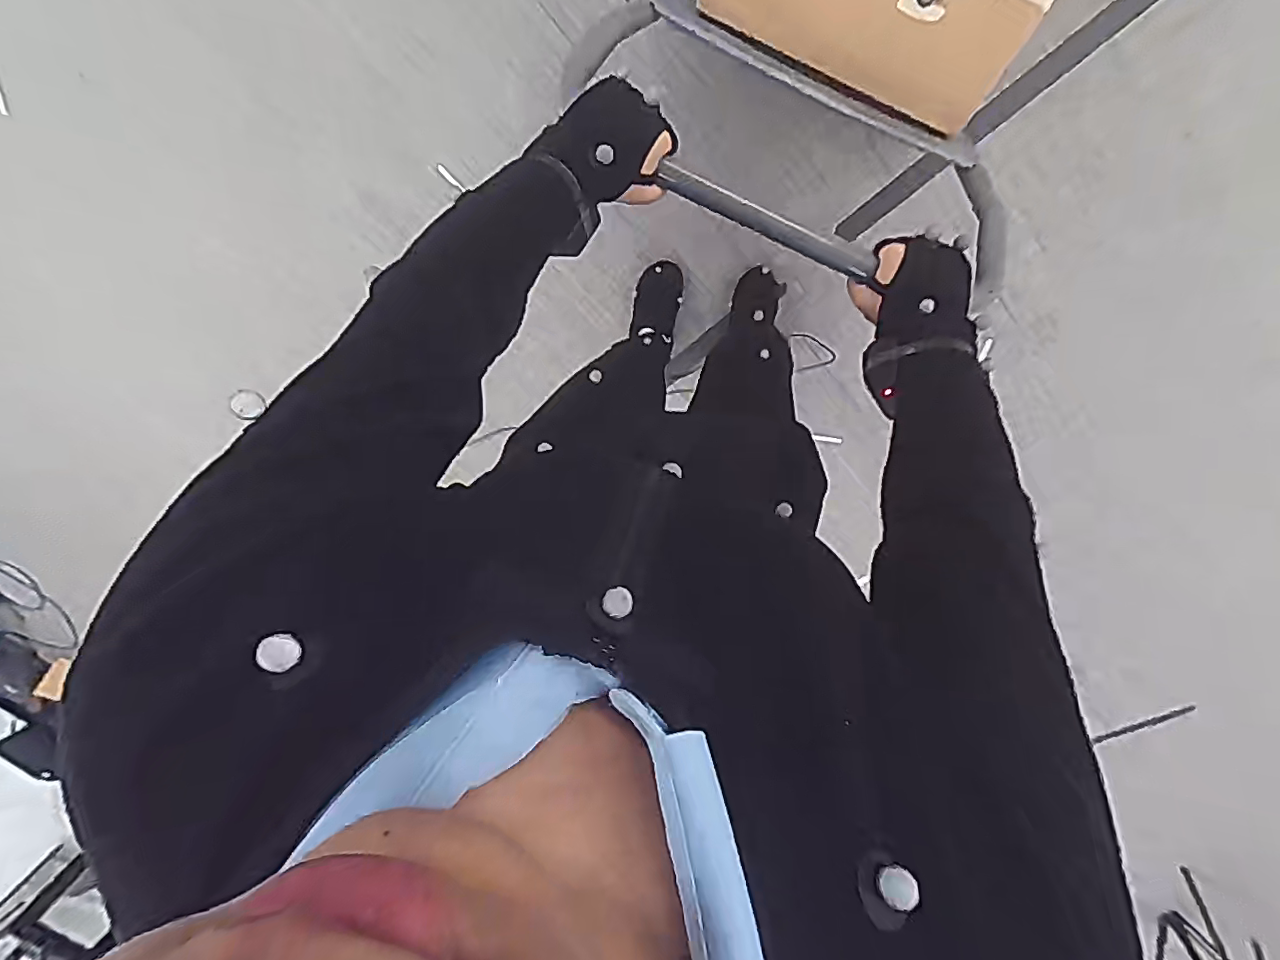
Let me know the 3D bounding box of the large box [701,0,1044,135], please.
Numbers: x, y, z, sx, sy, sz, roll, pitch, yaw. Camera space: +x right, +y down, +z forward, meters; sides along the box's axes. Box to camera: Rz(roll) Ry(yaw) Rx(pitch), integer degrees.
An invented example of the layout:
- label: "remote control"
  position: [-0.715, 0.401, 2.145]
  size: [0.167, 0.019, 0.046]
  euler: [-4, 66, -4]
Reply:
- label: "large box"
  position: [0.341, -0.757, 0.753]
  size: [0.408, 0.320, 0.320]
  euler: [23, 135, -5]
